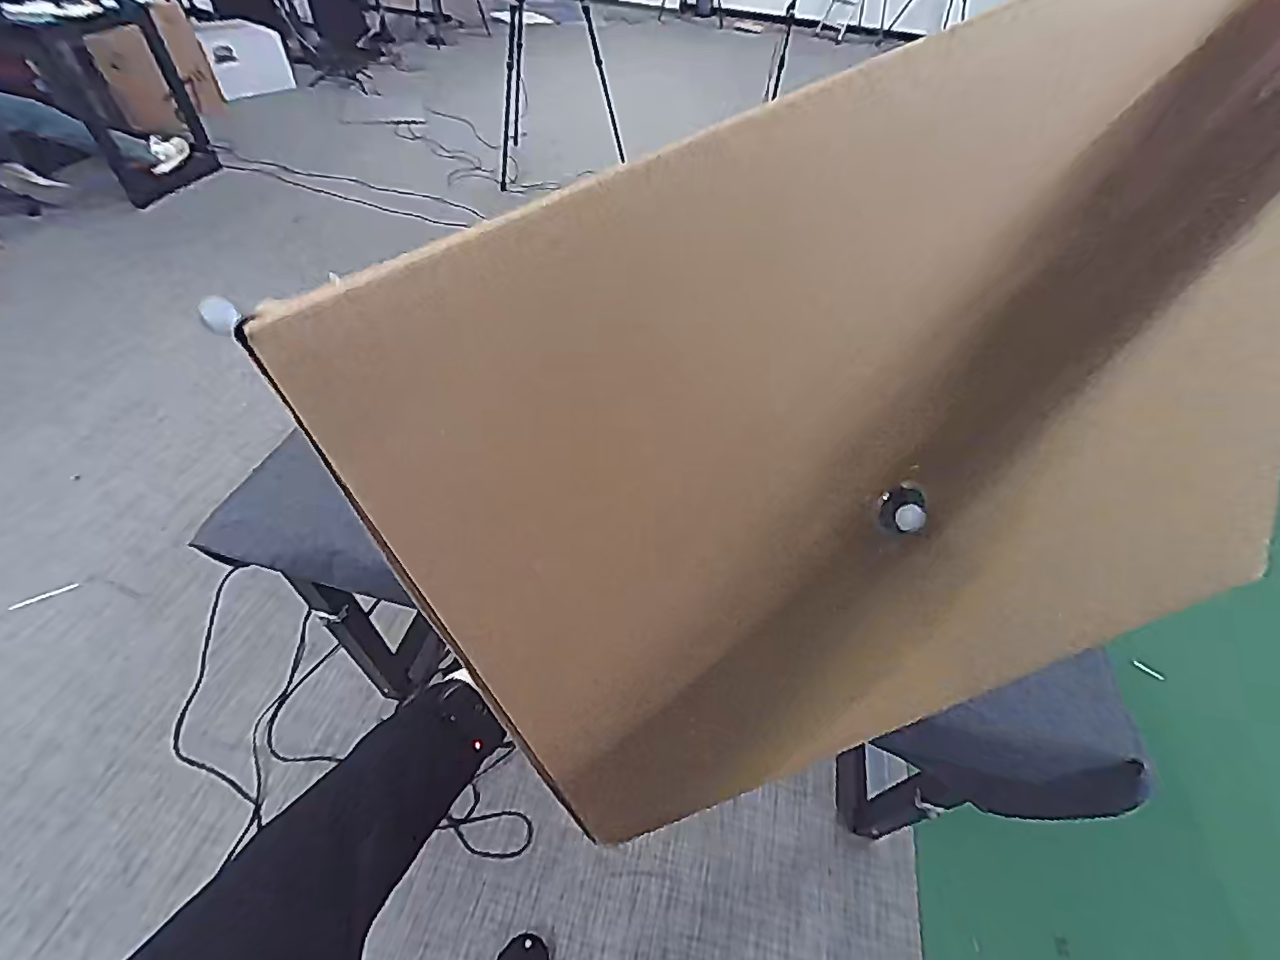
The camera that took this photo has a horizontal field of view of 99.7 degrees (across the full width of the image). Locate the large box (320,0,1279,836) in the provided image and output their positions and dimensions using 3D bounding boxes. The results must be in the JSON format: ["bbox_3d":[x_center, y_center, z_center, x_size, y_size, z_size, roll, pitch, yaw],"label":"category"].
[{"bbox_3d":[0.093,-0.048,0.390,0.408,0.320,0.320,-25,25,-1],"label":"large box"}]
